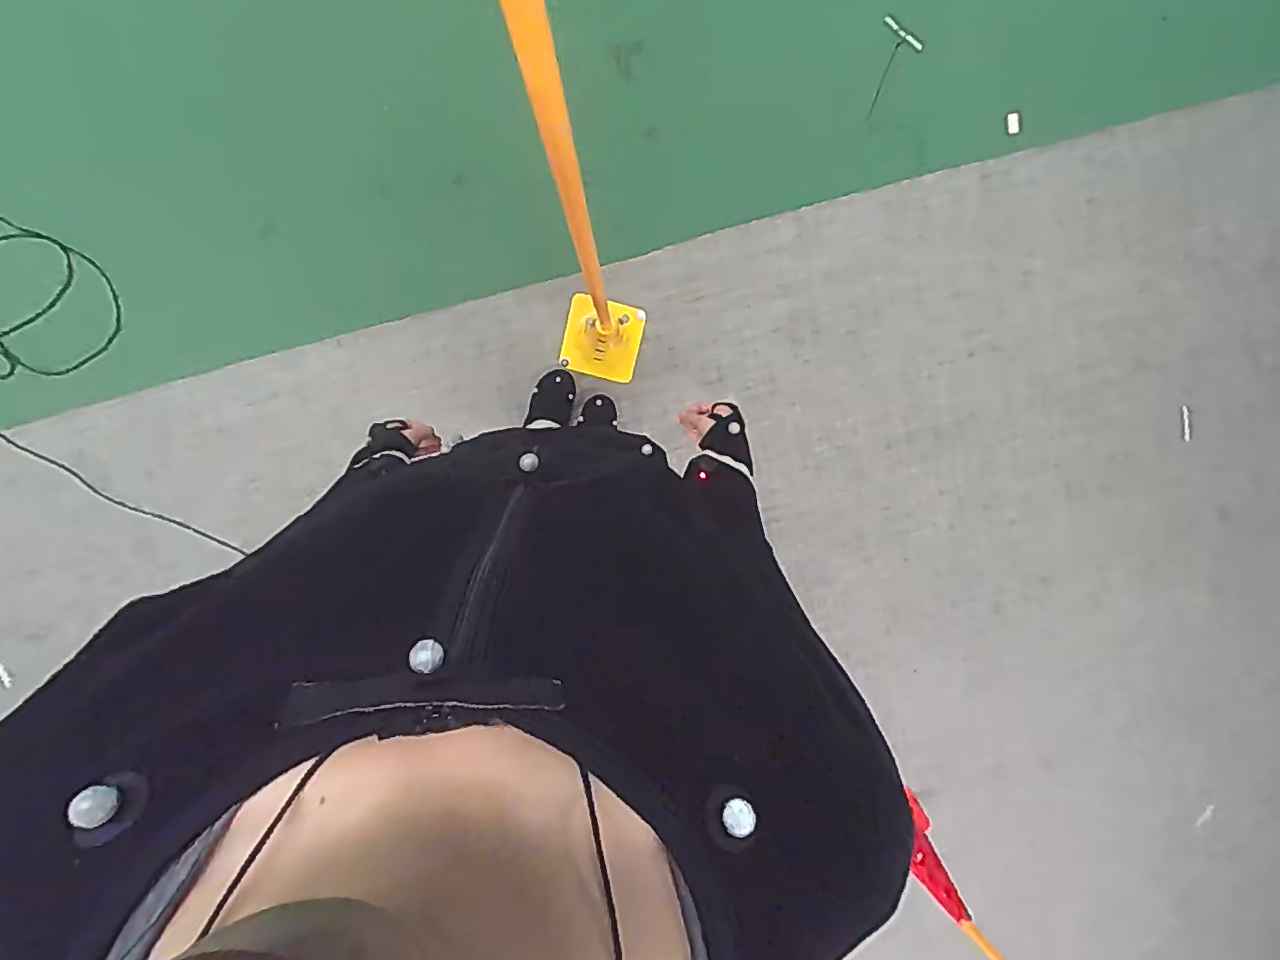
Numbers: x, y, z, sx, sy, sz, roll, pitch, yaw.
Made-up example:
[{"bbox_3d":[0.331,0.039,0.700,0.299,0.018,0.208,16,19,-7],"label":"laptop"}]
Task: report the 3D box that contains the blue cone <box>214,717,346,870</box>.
[{"bbox_3d":[-0.938,0.816,1.385,0.192,0.380,0.193,29,99,-11],"label":"blue cone"}]
